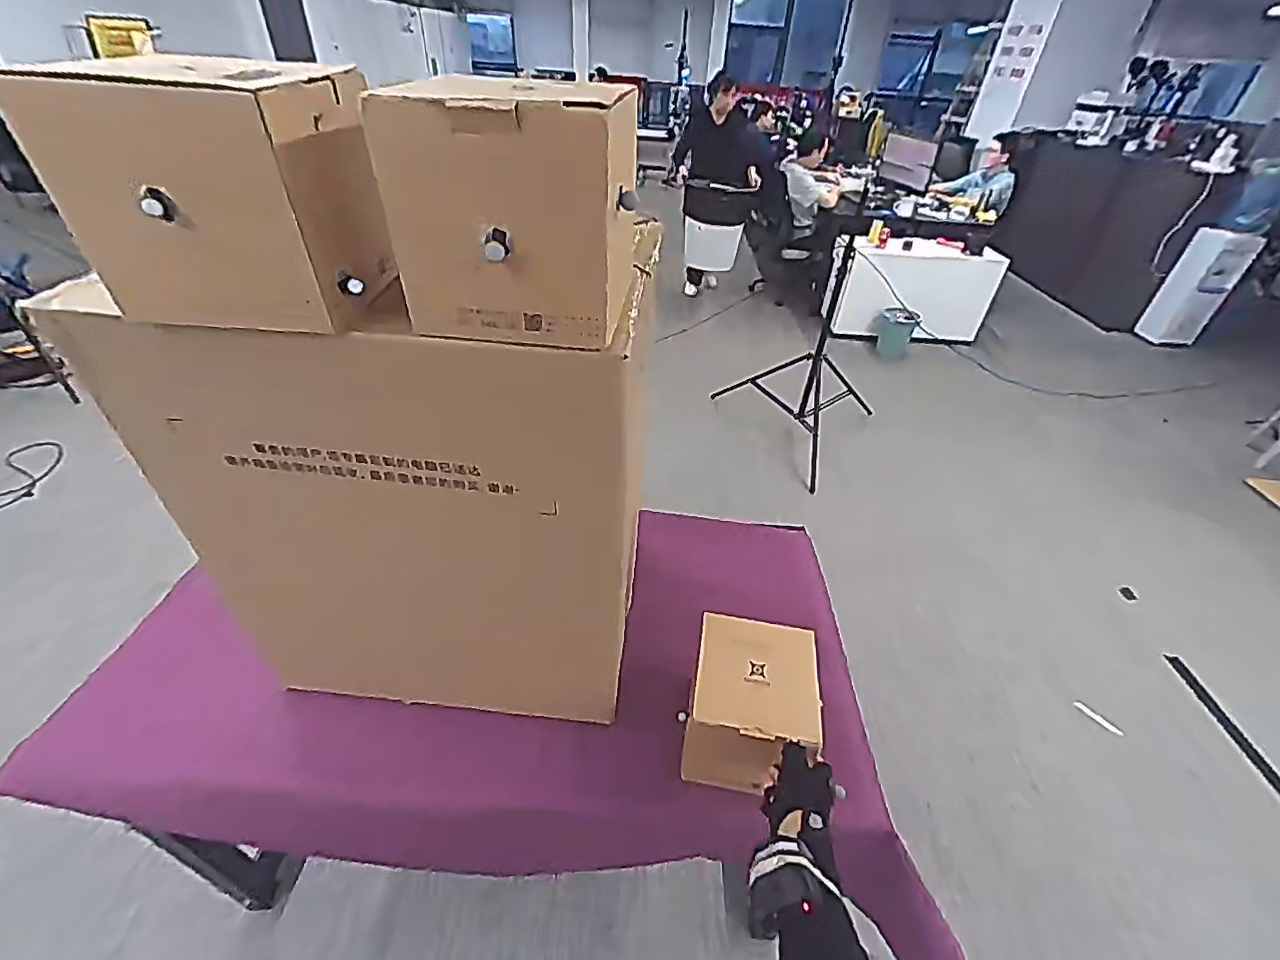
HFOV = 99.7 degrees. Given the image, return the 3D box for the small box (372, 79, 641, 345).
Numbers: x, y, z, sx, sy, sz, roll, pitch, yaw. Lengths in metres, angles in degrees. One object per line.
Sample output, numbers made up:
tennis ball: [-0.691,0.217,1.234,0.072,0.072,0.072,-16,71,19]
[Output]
small box: [-0.091,-0.230,0.464,0.168,0.176,0.179,6,40,2]

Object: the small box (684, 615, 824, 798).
small box: [0.159,0.329,0.788,0.168,0.176,0.179,9,37,6]

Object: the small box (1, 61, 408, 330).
small box: [-0.321,-0.237,0.454,0.179,0.176,0.168,3,39,0]
